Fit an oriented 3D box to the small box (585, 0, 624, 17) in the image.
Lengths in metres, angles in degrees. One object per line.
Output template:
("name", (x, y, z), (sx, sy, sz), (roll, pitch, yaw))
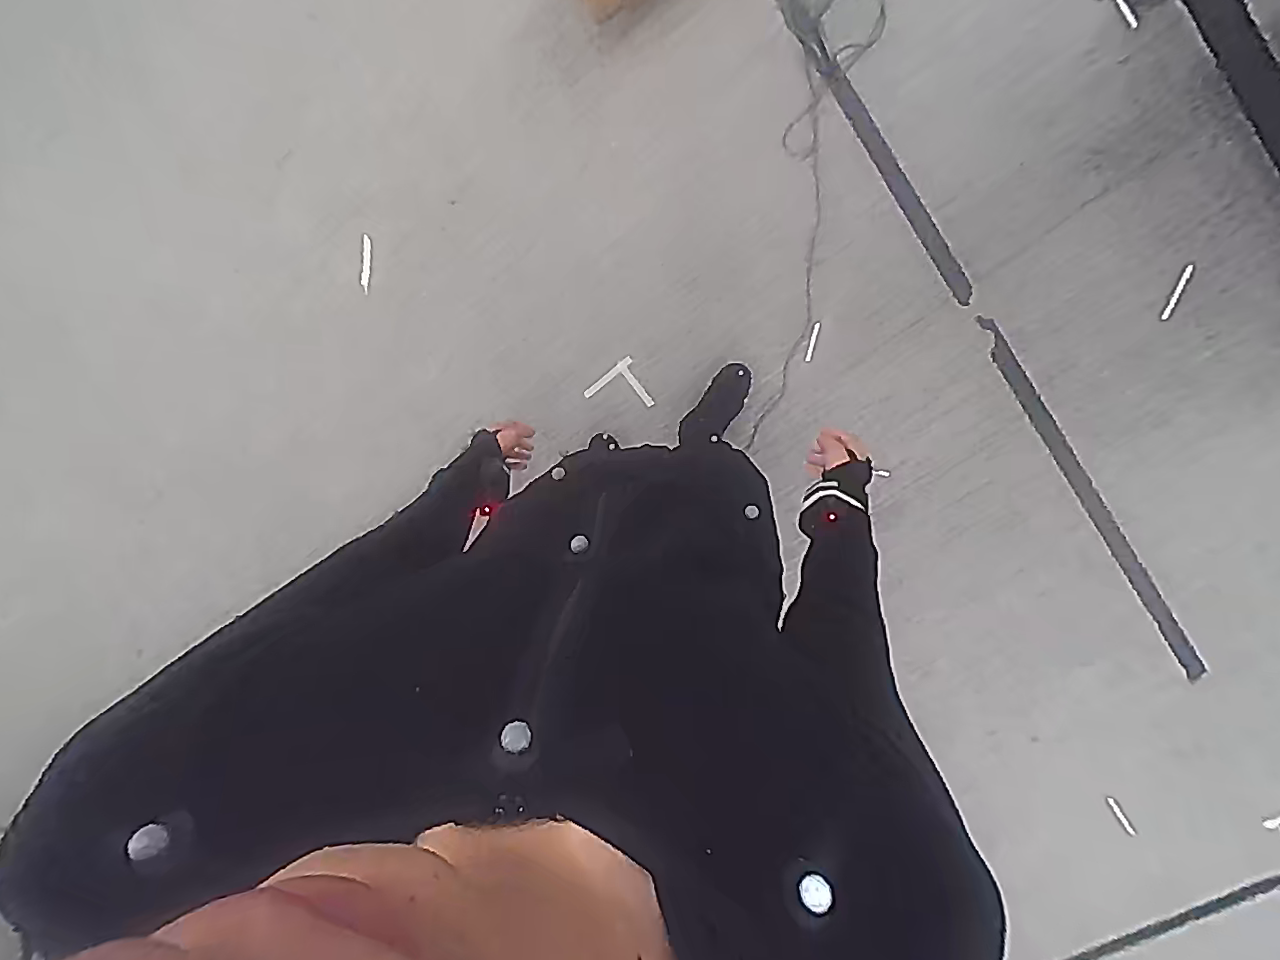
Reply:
("small box", (-0.096, -1.283, 1.294), (0.168, 0.176, 0.179), (-29, 97, 12))
